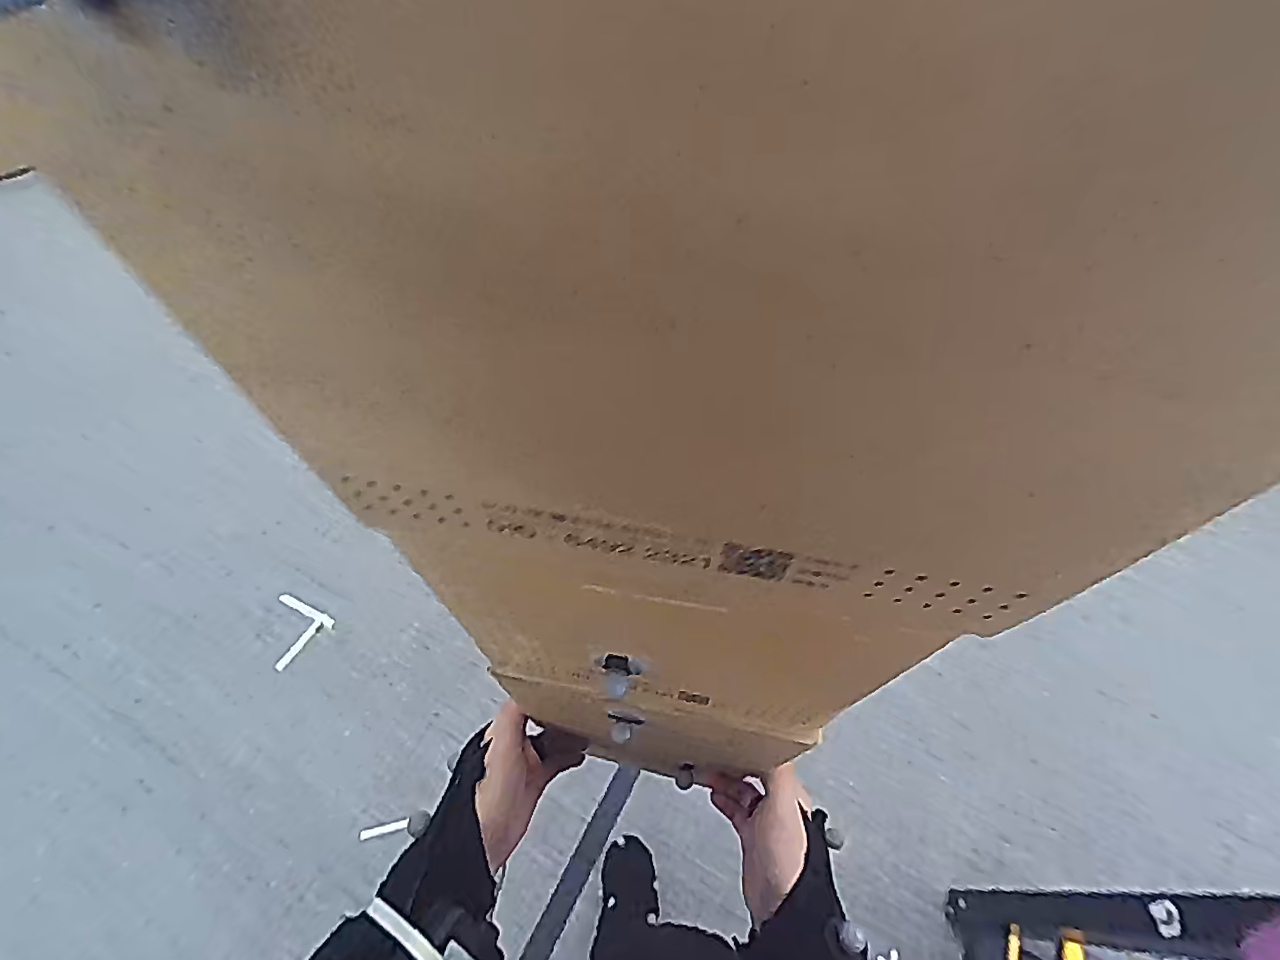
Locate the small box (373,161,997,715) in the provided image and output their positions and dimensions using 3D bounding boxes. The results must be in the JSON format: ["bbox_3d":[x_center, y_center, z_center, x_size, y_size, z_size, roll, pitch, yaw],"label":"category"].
[{"bbox_3d":[0.020,-0.011,0.249,0.168,0.176,0.179,8,57,6],"label":"small box"}]

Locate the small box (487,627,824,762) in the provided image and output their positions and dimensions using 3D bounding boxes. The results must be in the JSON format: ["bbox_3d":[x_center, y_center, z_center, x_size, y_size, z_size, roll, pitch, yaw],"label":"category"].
[{"bbox_3d":[0.020,0.086,0.380,0.179,0.176,0.168,10,57,6],"label":"small box"}]
